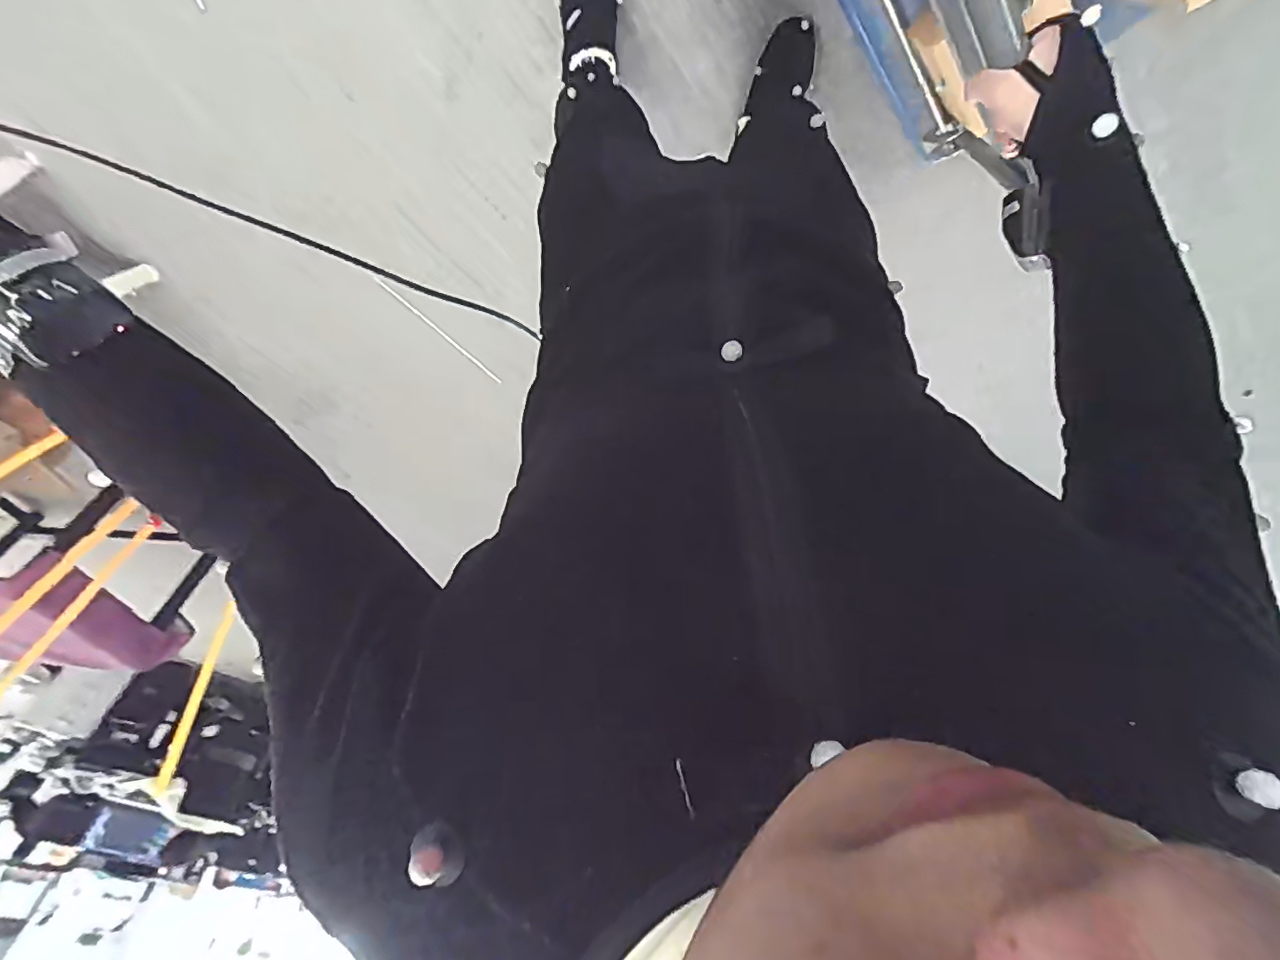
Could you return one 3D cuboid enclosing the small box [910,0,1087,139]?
[{"bbox_3d":[0.572,-0.712,0.883,0.179,0.176,0.168,35,130,-28],"label":"small box"}]
